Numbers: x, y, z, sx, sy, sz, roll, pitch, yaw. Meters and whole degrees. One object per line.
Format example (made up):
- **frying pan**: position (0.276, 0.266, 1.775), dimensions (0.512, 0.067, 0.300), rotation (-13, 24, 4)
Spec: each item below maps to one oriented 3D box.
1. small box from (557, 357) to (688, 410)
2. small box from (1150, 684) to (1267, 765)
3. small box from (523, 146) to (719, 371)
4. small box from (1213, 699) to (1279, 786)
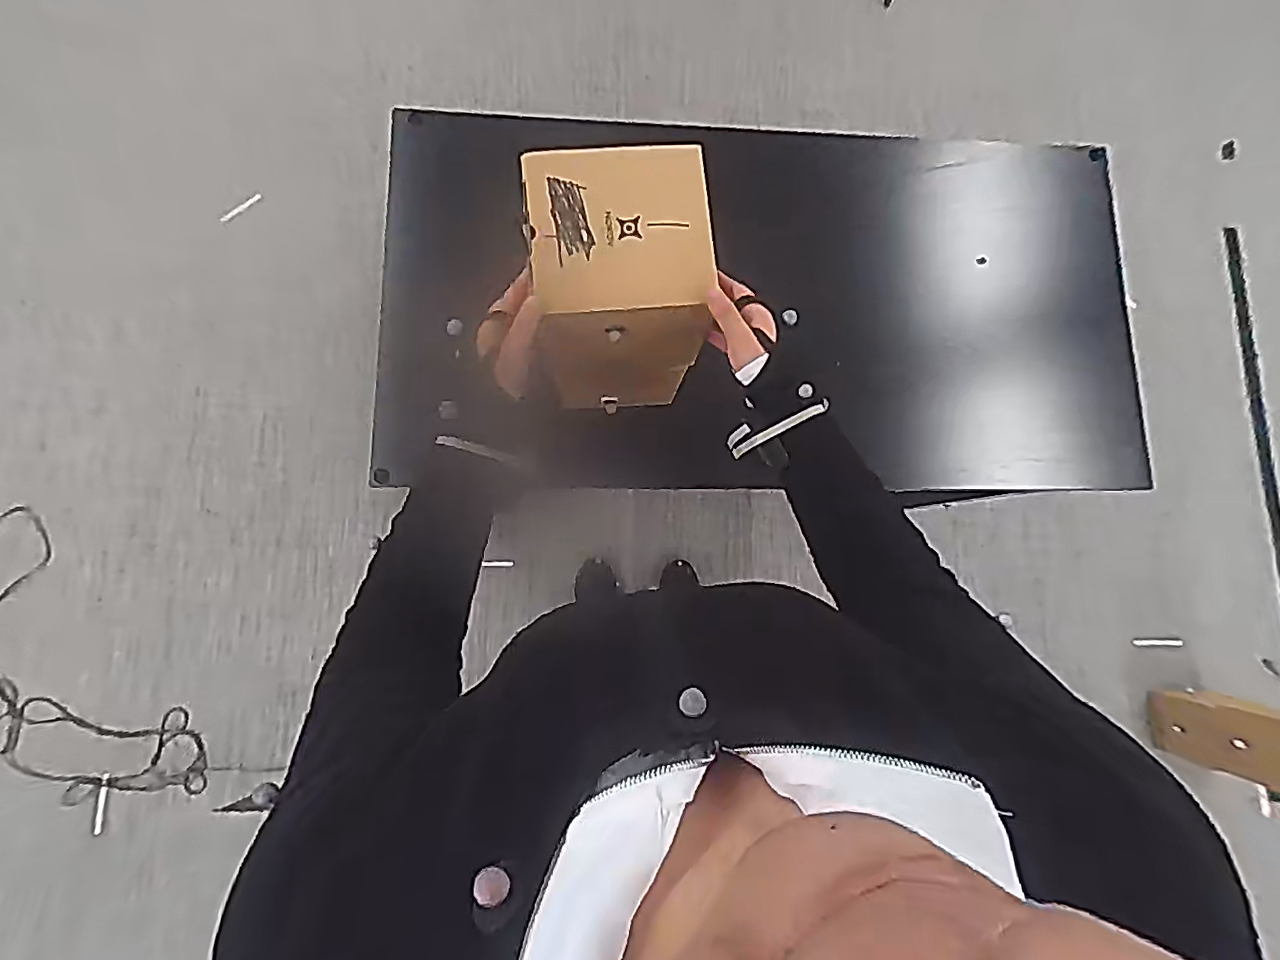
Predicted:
- **small box**: position (-0.033, -0.207, 0.751), dimensions (0.168, 0.176, 0.179), rotation (-5, 84, -4)
- **small box**: position (1.561, 0.667, 1.487), dimensions (0.179, 0.176, 0.168), rotation (0, 82, -3)
- **small box**: position (-0.023, -0.226, 0.588), dimensions (0.179, 0.176, 0.168), rotation (-5, 82, -5)
- **small box**: position (1.575, 0.647, 1.323), dimensions (0.179, 0.176, 0.168), rotation (5, 82, -3)
